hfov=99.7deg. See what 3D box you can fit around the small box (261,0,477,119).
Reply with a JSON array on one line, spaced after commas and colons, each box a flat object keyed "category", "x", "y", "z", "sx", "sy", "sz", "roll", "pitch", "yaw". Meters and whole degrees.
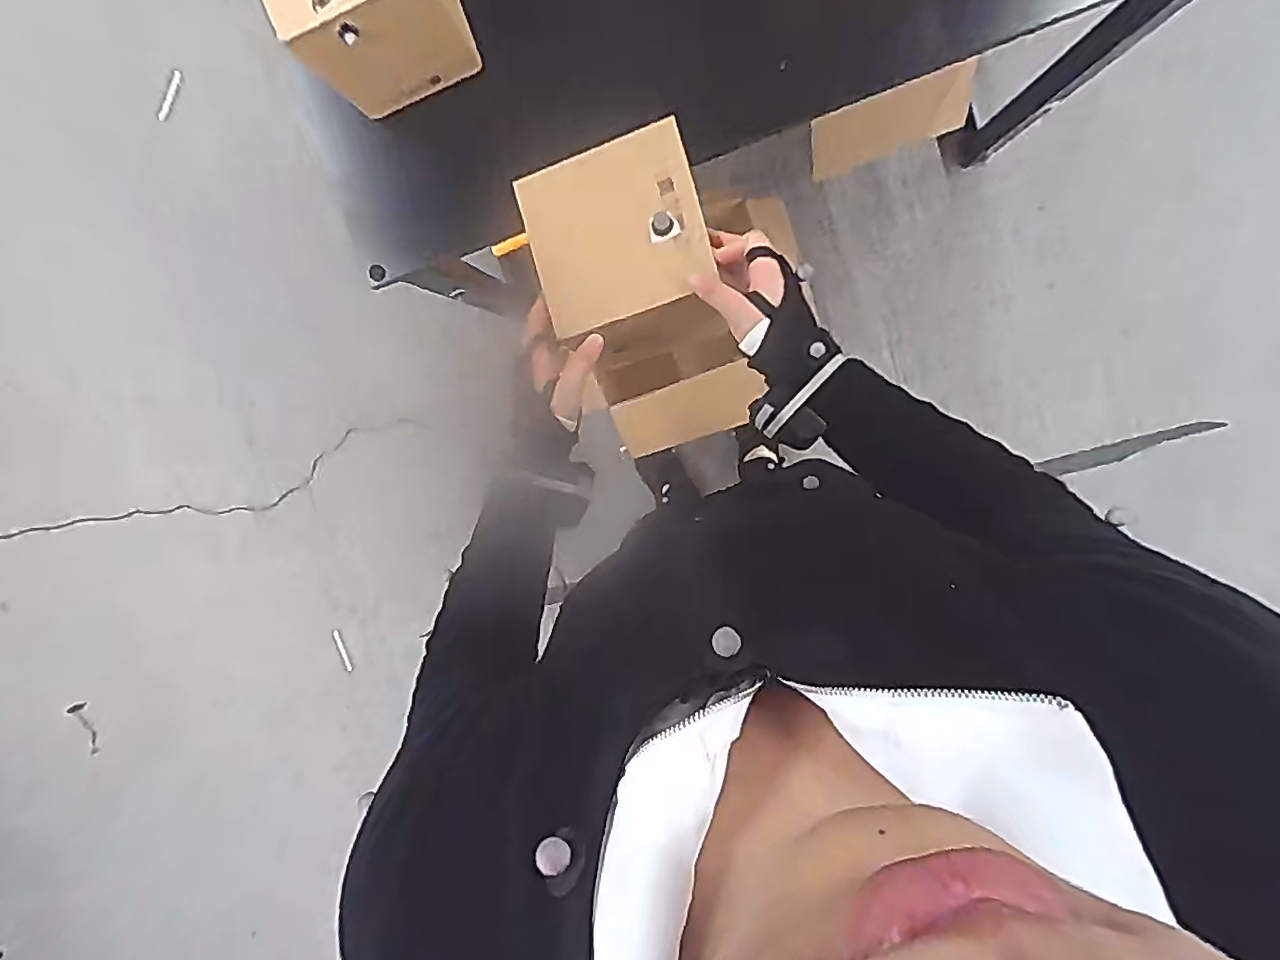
[{"category": "small box", "x": -0.311, "y": -0.559, "z": 0.606, "sx": 0.168, "sy": 0.176, "sz": 0.179, "roll": -18, "pitch": 97, "yaw": 8}]
